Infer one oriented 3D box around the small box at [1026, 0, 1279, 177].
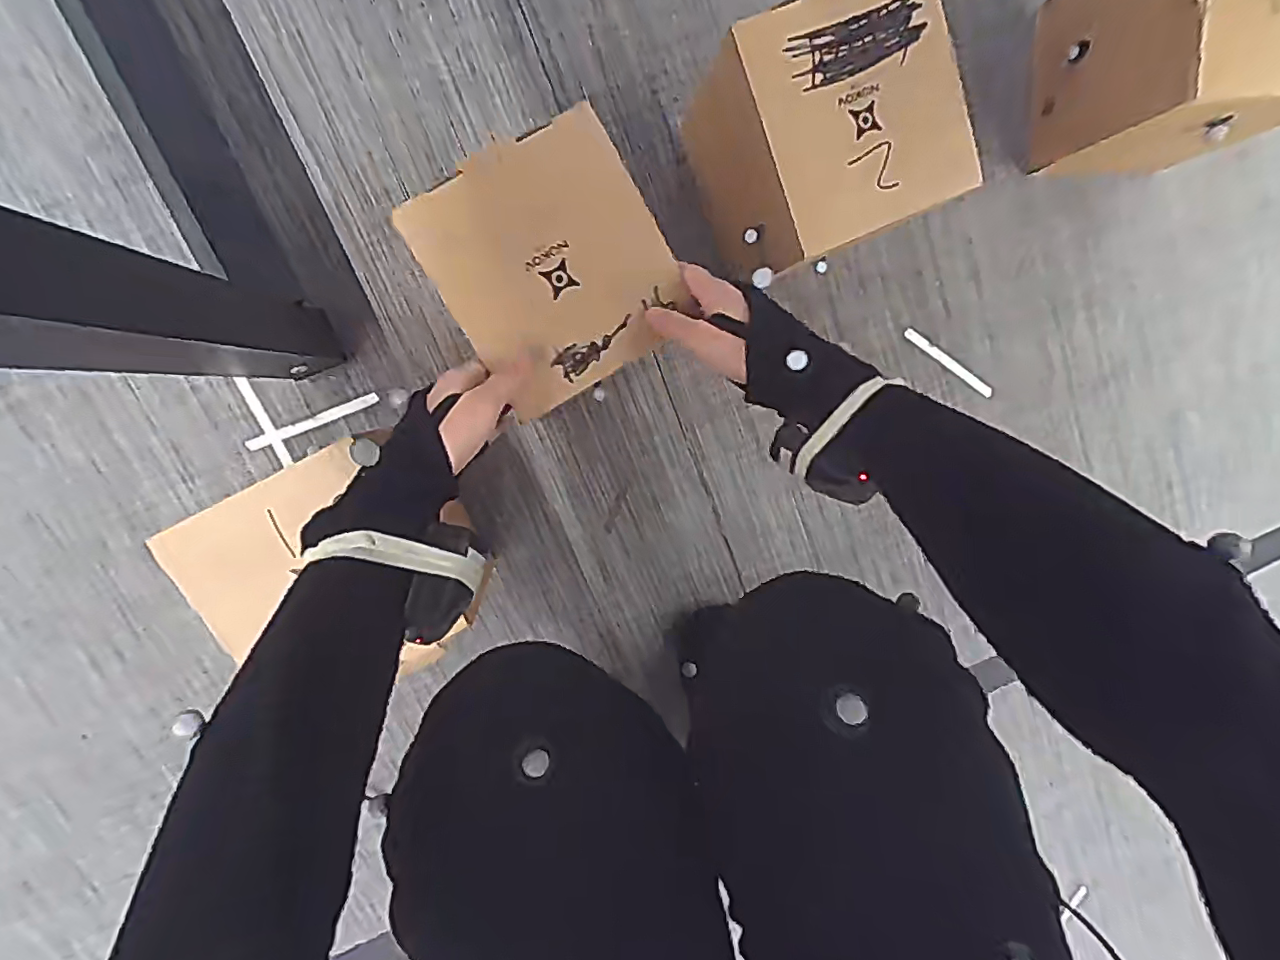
[{"bbox_3d":[0.531,-0.417,0.532,0.179,0.176,0.168,-6,100,-7],"label":"small box"}]
